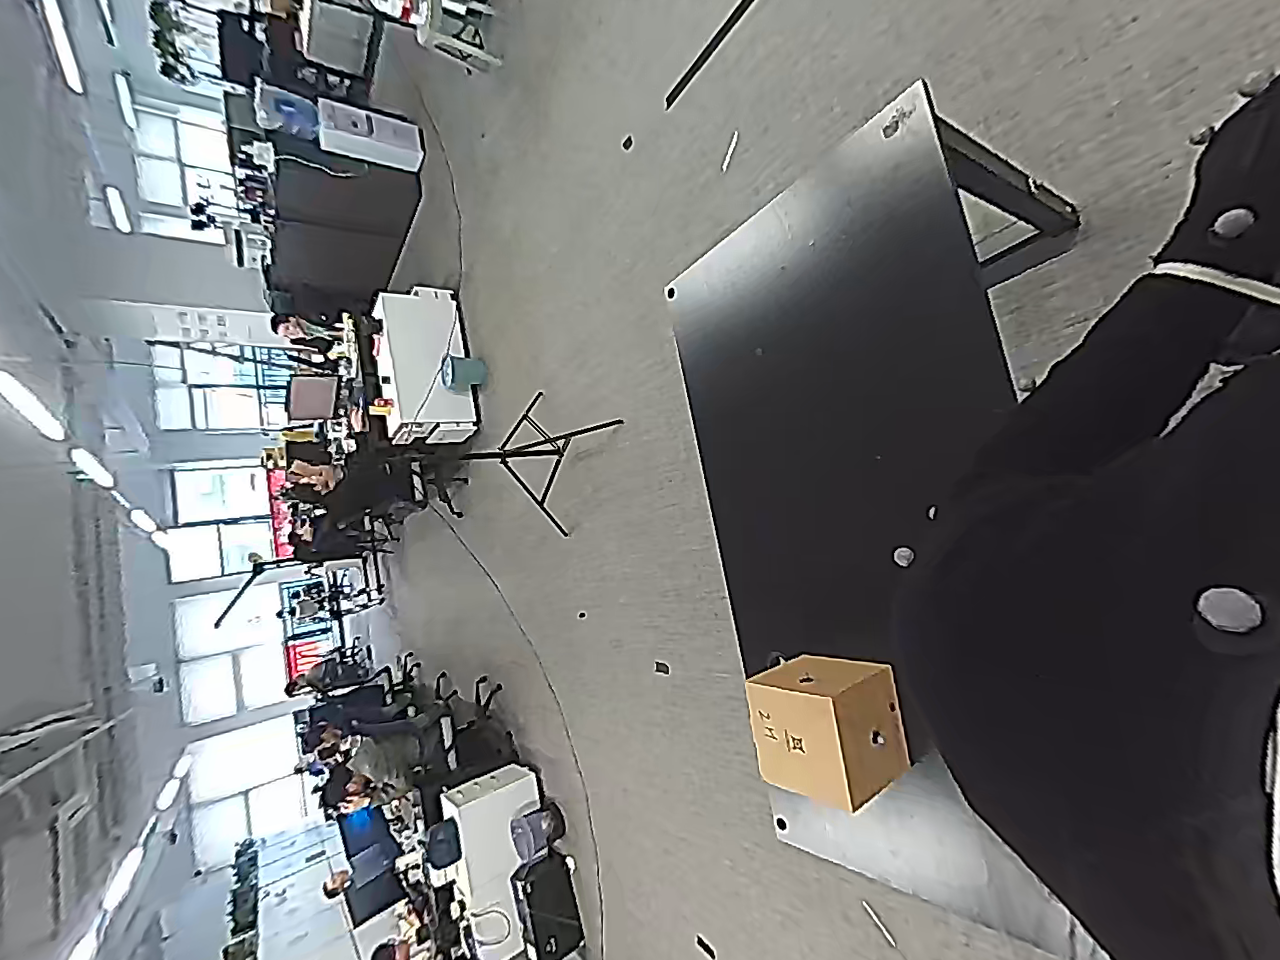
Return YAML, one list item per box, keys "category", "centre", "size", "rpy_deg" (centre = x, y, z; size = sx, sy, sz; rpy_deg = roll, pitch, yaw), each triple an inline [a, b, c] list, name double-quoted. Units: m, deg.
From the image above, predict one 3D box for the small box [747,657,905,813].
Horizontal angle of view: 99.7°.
- category: "small box"
  centre: [0.306, 0.397, 0.880]
  size: [0.179, 0.176, 0.168]
  rpy_deg: [-16, 81, 54]
